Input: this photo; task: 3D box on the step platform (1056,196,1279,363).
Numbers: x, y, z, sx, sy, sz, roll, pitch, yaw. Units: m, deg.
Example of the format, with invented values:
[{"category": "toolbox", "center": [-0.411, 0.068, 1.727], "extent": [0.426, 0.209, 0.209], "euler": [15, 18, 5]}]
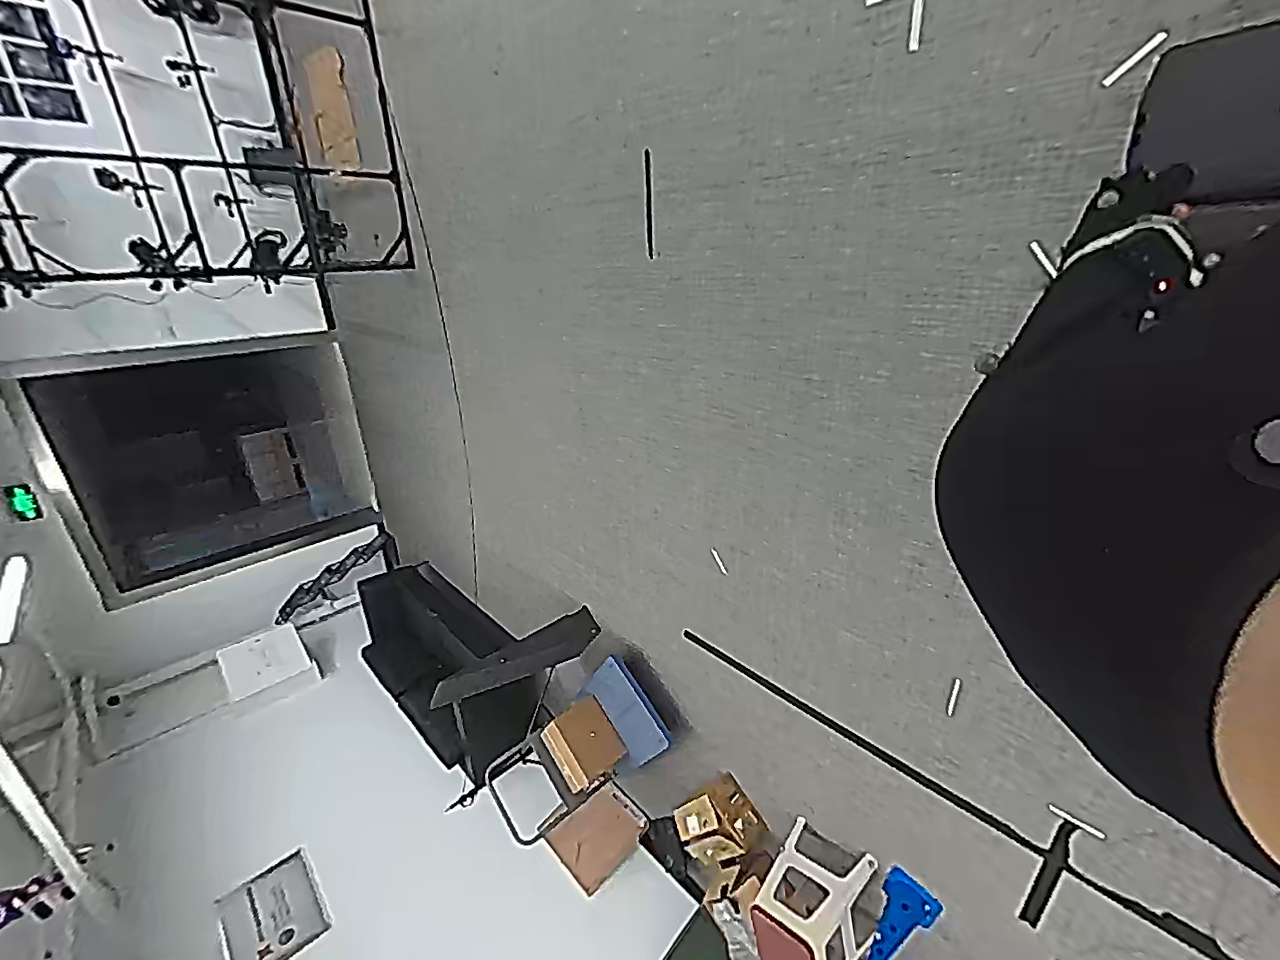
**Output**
[{"category": "step platform", "center": [1.200, -0.368, 0.991], "extent": [0.684, 0.204, 0.286], "euler": [20, 121, 44]}]
